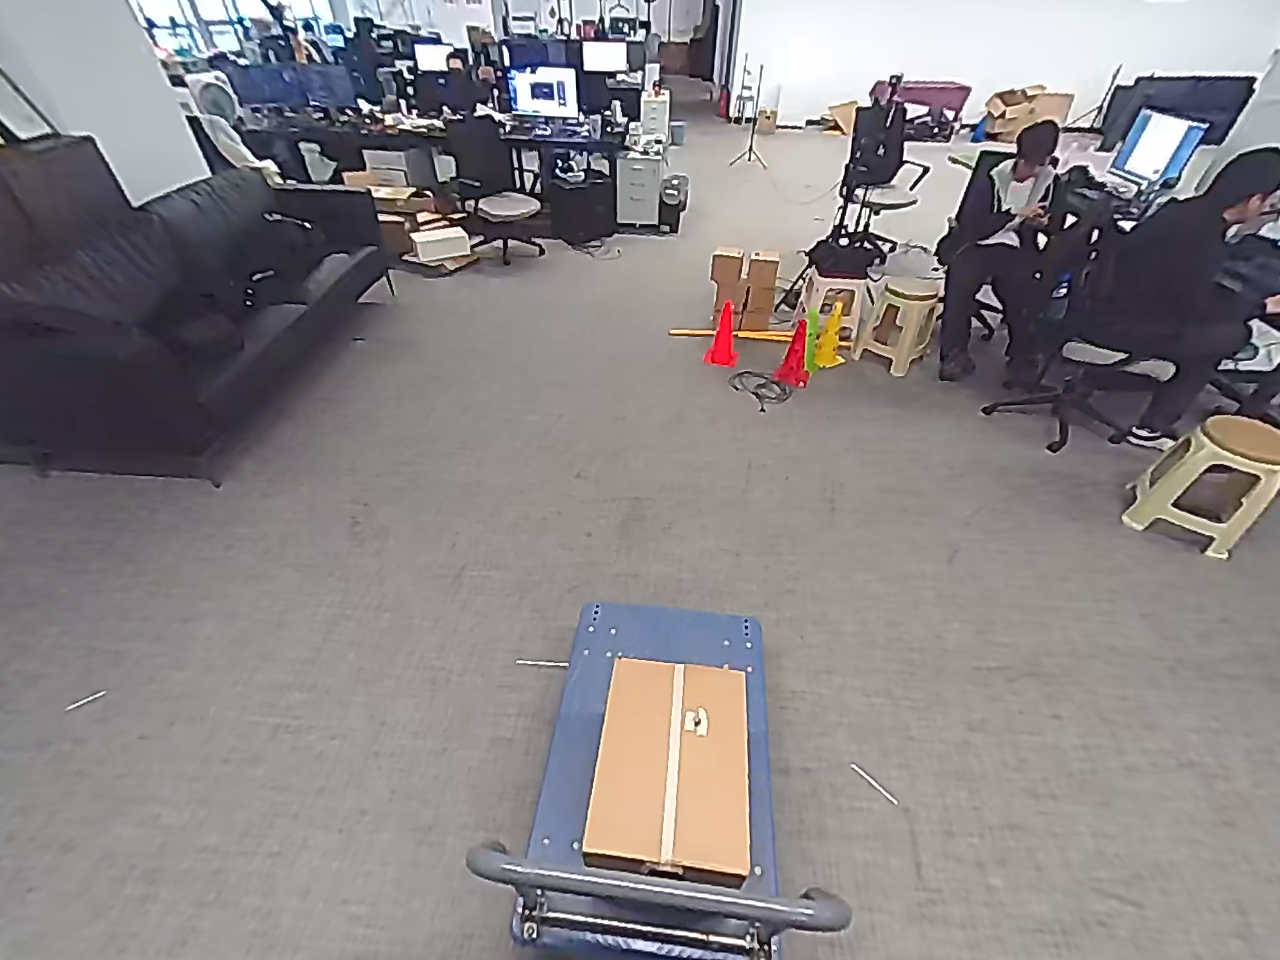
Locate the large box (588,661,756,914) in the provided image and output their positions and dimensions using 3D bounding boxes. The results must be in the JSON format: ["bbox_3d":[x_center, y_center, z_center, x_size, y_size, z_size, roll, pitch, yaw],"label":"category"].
[{"bbox_3d":[0.074,0.683,1.219,0.320,0.320,0.408,5,41,4],"label":"large box"}]
